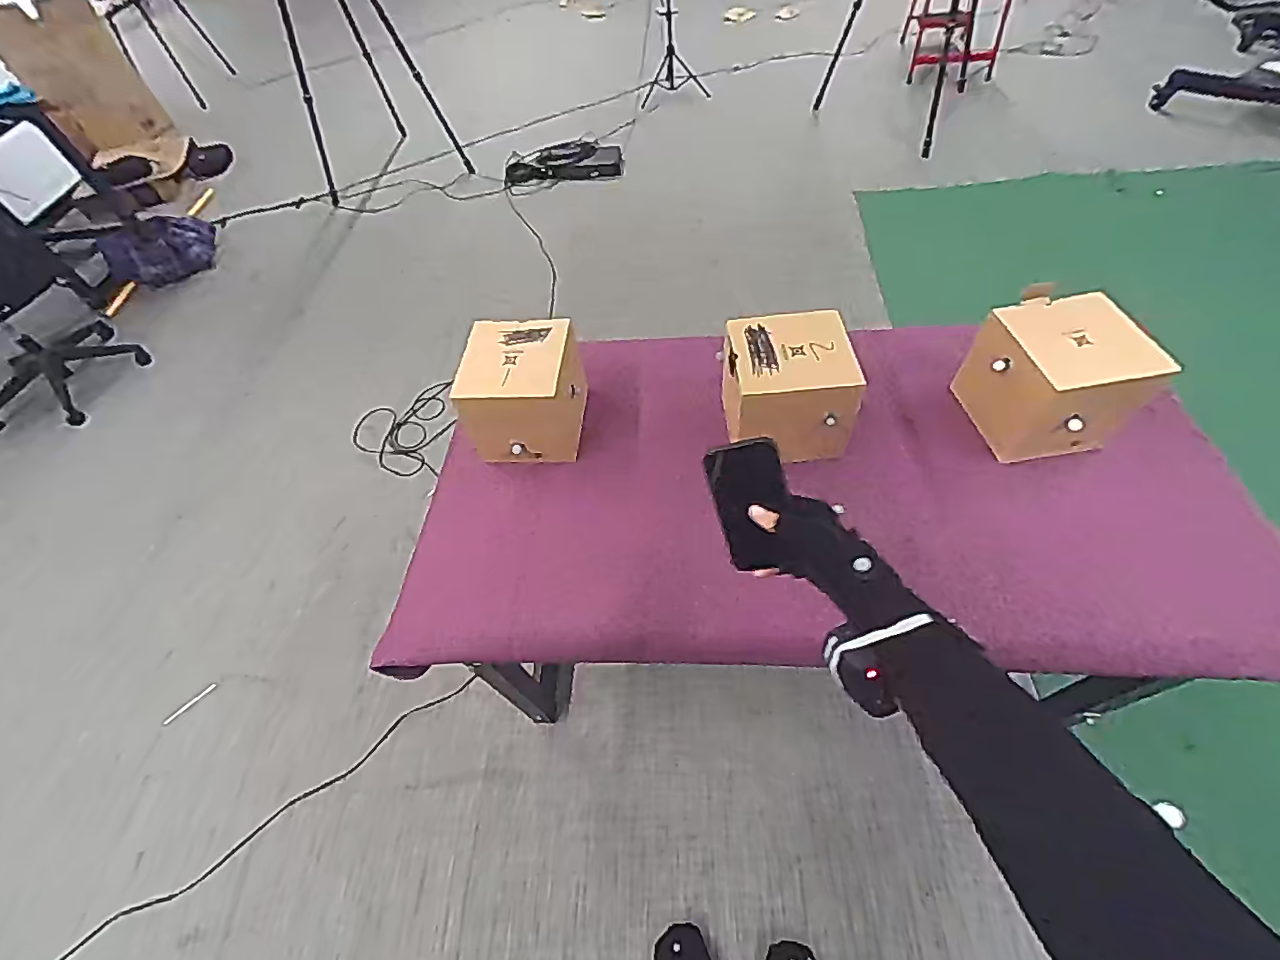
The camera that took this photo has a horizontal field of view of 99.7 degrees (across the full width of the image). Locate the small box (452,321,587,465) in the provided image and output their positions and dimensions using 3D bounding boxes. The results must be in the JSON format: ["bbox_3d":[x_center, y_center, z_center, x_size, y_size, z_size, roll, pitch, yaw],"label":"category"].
[{"bbox_3d":[-0.188,-0.145,0.909,0.168,0.176,0.179,0,56,7],"label":"small box"}]

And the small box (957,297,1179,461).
[{"bbox_3d":[0.621,-0.143,0.816,0.168,0.176,0.179,-9,53,1],"label":"small box"}]
